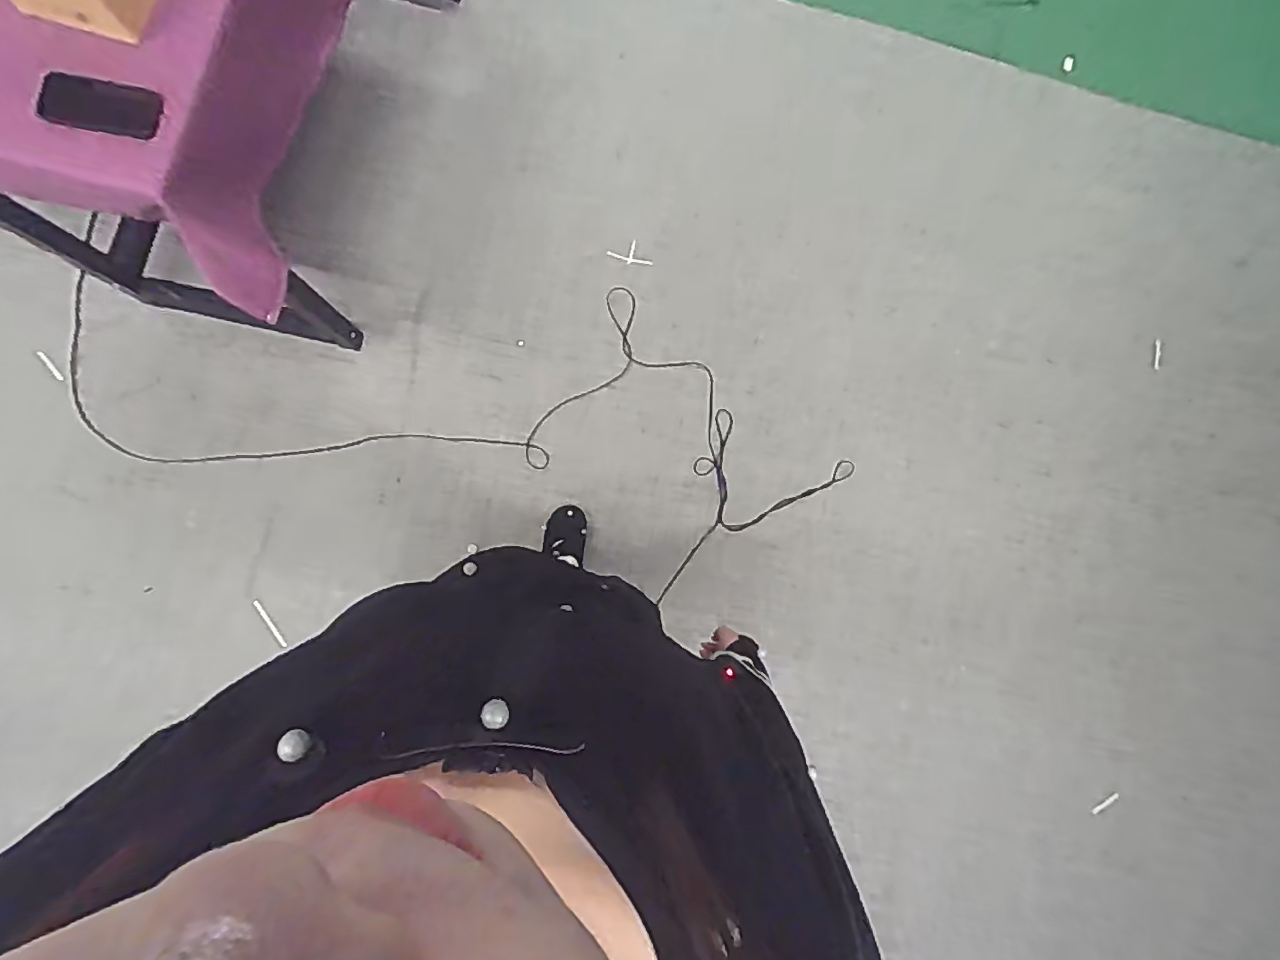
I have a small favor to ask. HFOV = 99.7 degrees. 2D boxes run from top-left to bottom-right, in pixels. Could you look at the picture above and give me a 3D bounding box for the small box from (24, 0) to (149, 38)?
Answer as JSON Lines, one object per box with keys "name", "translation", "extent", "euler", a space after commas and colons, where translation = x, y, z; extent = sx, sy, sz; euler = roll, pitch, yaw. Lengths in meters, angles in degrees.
{"name": "small box", "translation": [-0.786, -0.749, 0.718], "extent": [0.168, 0.176, 0.179], "euler": [14, 82, -4]}
